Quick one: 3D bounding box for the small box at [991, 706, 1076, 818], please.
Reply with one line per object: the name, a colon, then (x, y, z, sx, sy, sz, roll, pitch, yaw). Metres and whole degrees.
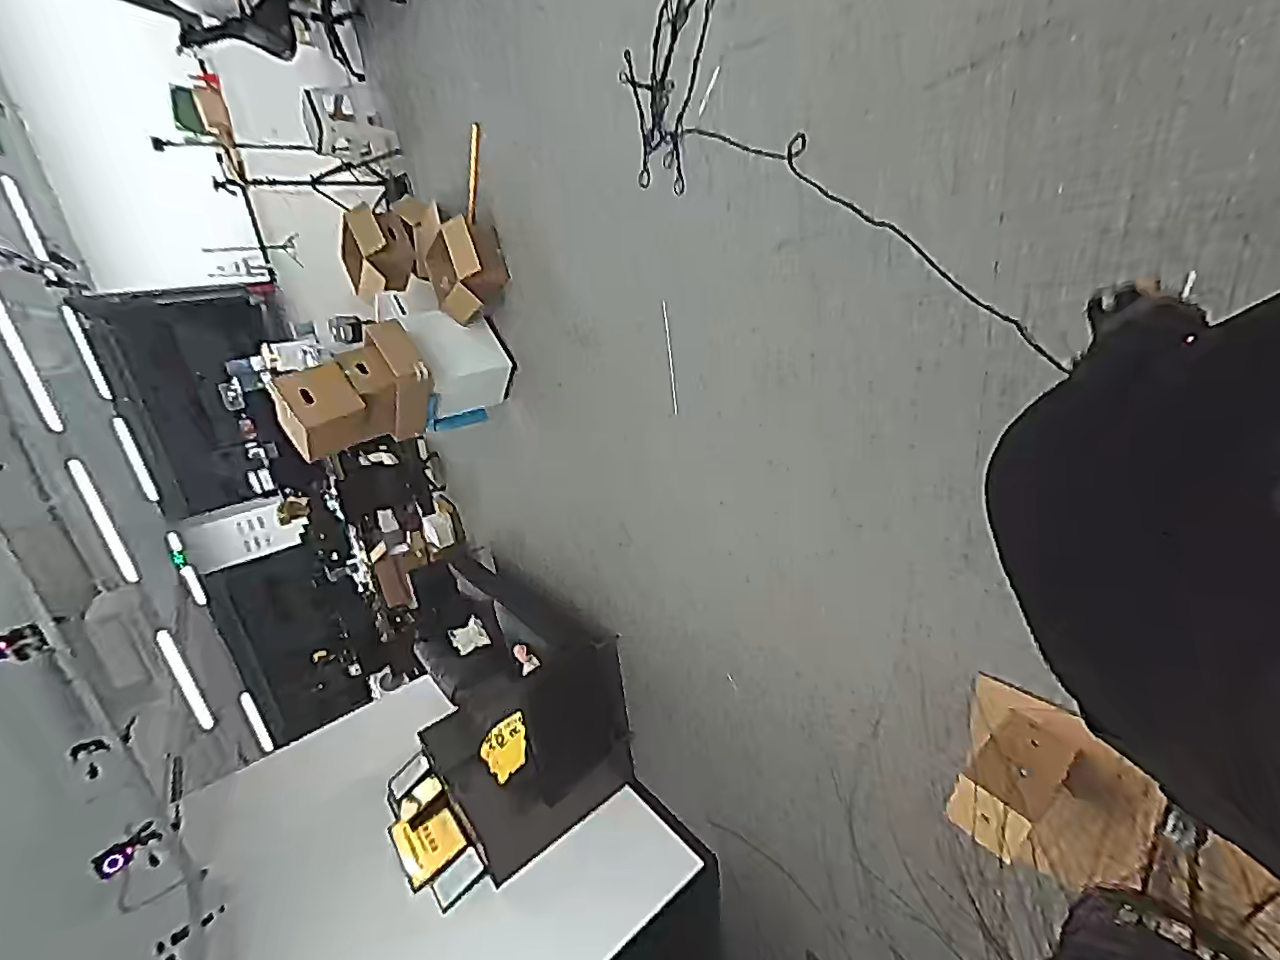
small box: (1.059, 0.765, 1.484, 0.168, 0.176, 0.179, 27, 129, 45)

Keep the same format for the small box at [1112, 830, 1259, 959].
small box: (1.149, 0.894, 1.139, 0.168, 0.176, 0.179, 28, 129, 46)

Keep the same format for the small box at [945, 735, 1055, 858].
small box: (0.928, 0.809, 1.395, 0.168, 0.176, 0.179, 30, 130, 43)
